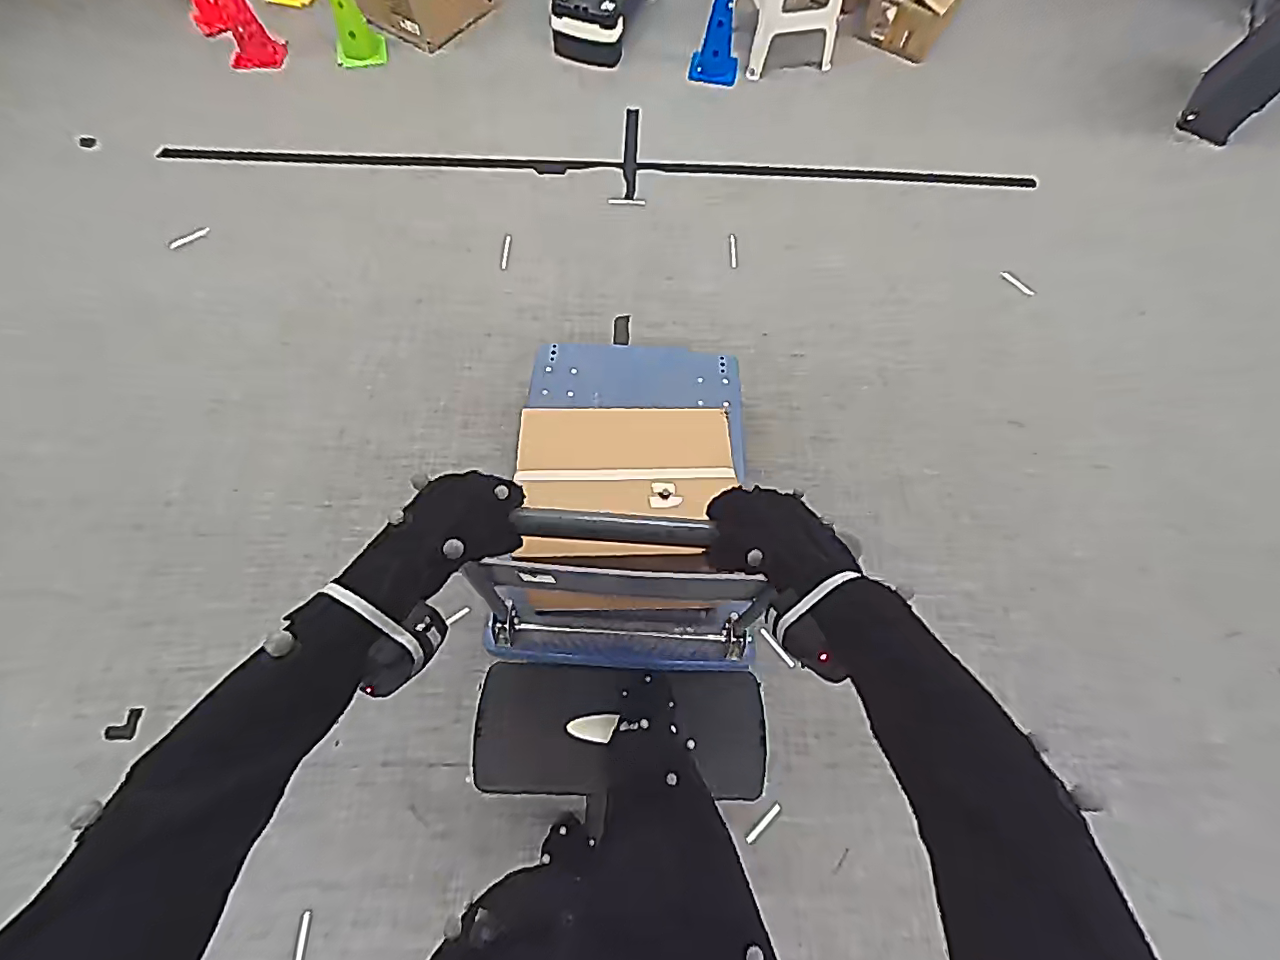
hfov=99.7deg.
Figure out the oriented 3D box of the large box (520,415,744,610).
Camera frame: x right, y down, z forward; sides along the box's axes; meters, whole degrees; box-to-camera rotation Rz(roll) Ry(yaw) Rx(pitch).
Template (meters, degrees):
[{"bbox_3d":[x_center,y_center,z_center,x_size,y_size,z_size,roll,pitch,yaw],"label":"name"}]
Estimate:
[{"bbox_3d":[-0.030,0.076,1.144,0.408,0.320,0.320,0,60,-4],"label":"large box"}]
